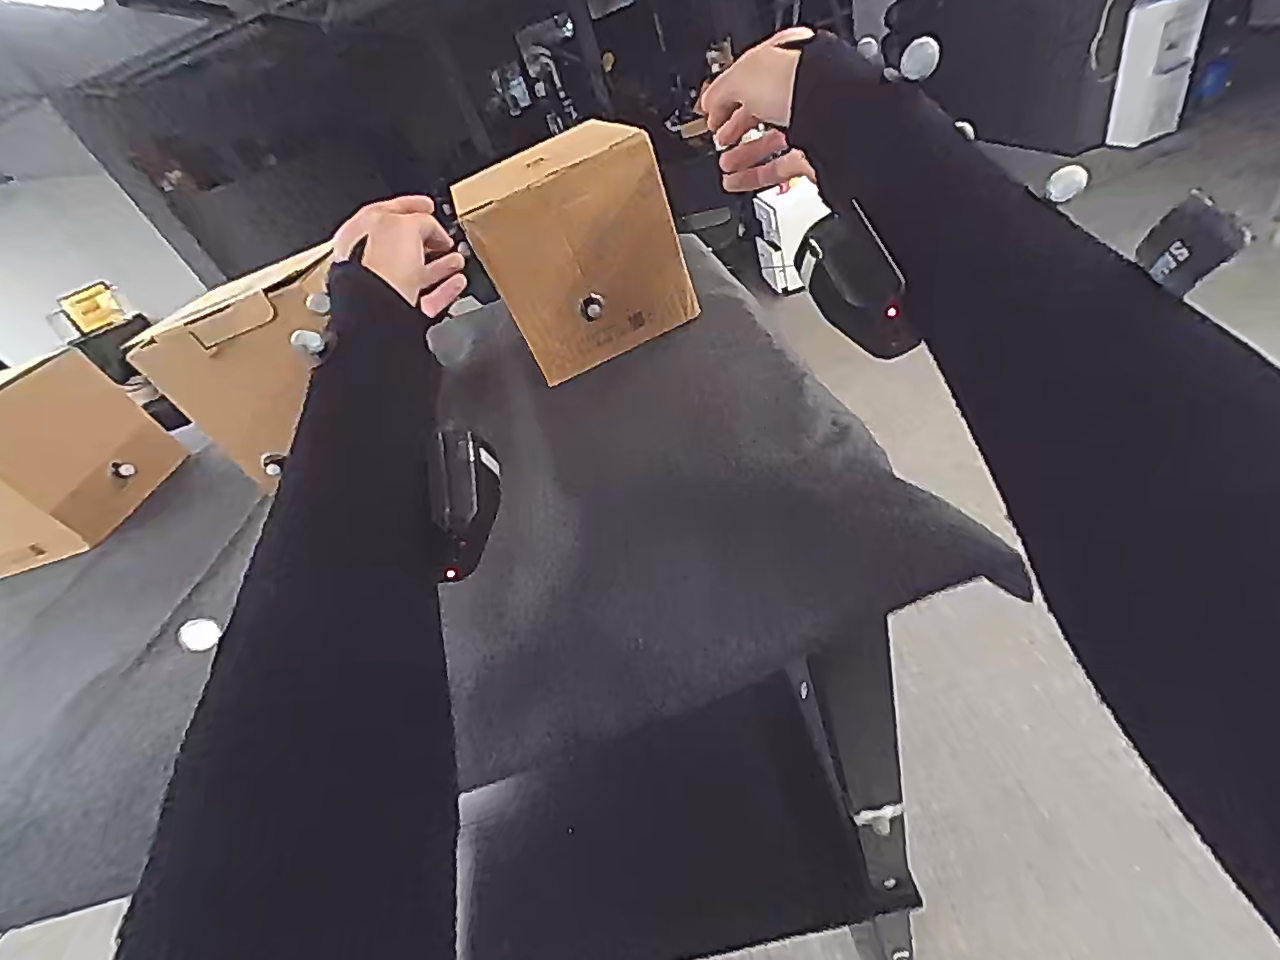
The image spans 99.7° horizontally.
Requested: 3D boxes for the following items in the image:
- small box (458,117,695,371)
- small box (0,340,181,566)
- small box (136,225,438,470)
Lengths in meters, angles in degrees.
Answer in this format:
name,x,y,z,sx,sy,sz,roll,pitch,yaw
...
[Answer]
name,x,y,z,sx,sy,sz,roll,pitch,yaw
small box,-0.064,-0.237,0.544,0.168,0.176,0.179,-26,39,-2
small box,-0.690,-0.030,0.618,0.168,0.176,0.179,-15,38,10
small box,-0.331,-0.130,0.556,0.168,0.176,0.179,-20,37,4
